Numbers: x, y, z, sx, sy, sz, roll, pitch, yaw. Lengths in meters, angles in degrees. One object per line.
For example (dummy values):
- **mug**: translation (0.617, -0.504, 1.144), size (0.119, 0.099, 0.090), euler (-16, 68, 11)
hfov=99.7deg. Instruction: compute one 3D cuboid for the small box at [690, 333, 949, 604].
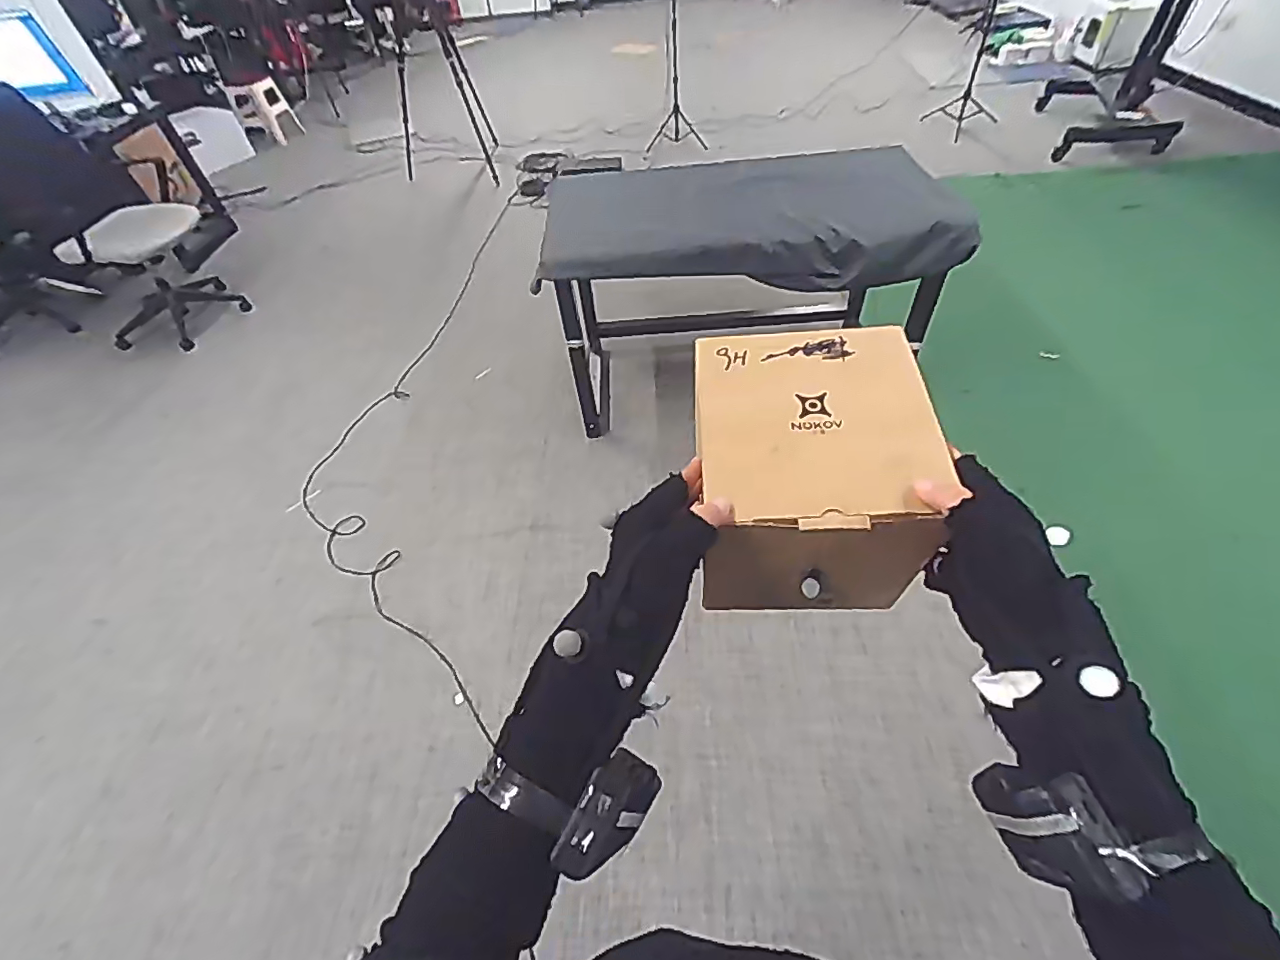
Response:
- **small box**: translation (0.131, 0.001, 0.465), size (0.168, 0.176, 0.179), euler (-2, 57, 6)
